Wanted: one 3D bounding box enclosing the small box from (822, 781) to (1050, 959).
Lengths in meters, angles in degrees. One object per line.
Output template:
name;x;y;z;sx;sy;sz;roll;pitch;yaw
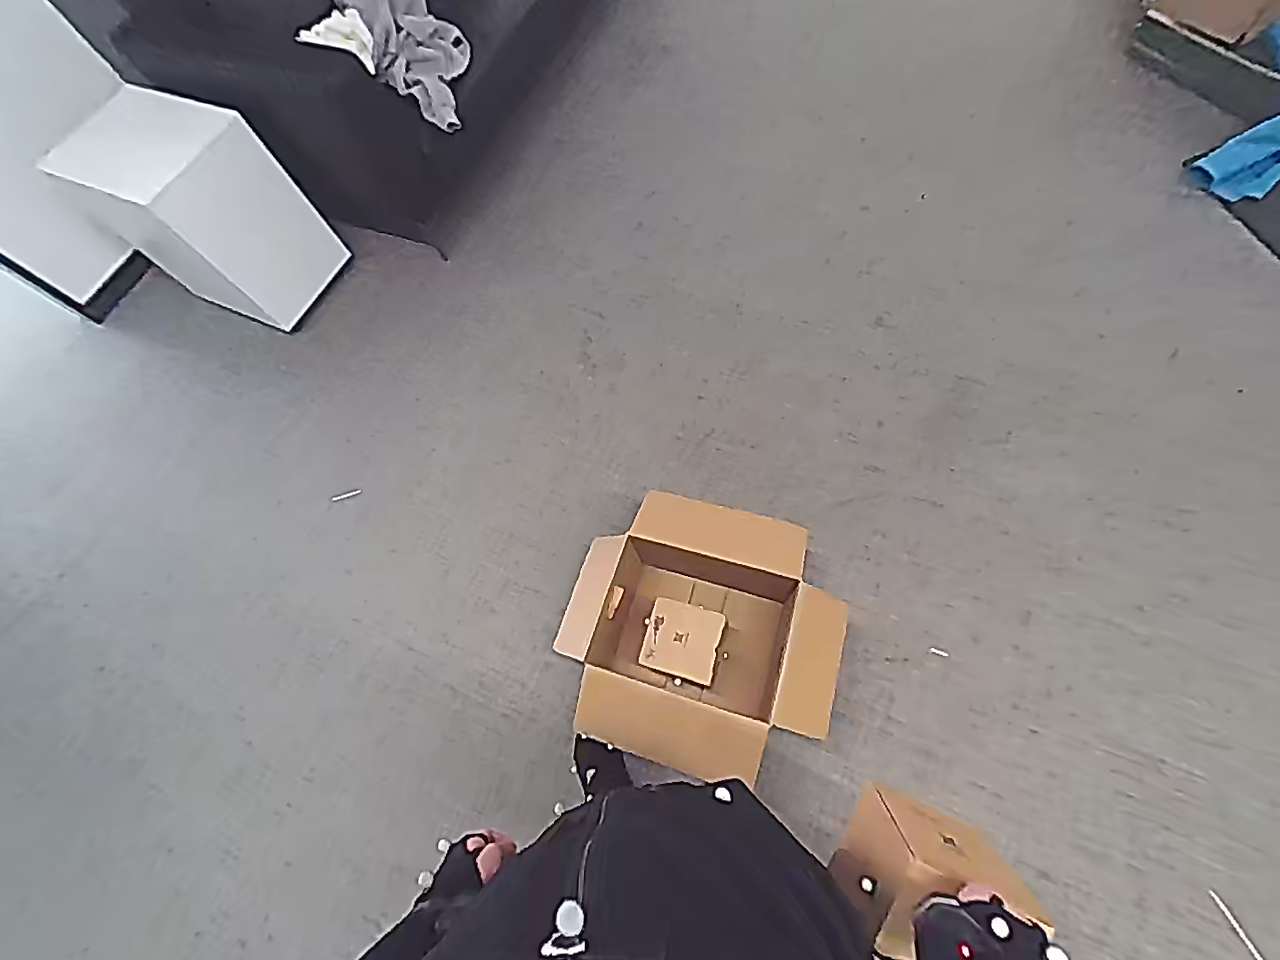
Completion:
small box;0.354;0.535;0.682;0.168;0.179;0.176;25;90;7
